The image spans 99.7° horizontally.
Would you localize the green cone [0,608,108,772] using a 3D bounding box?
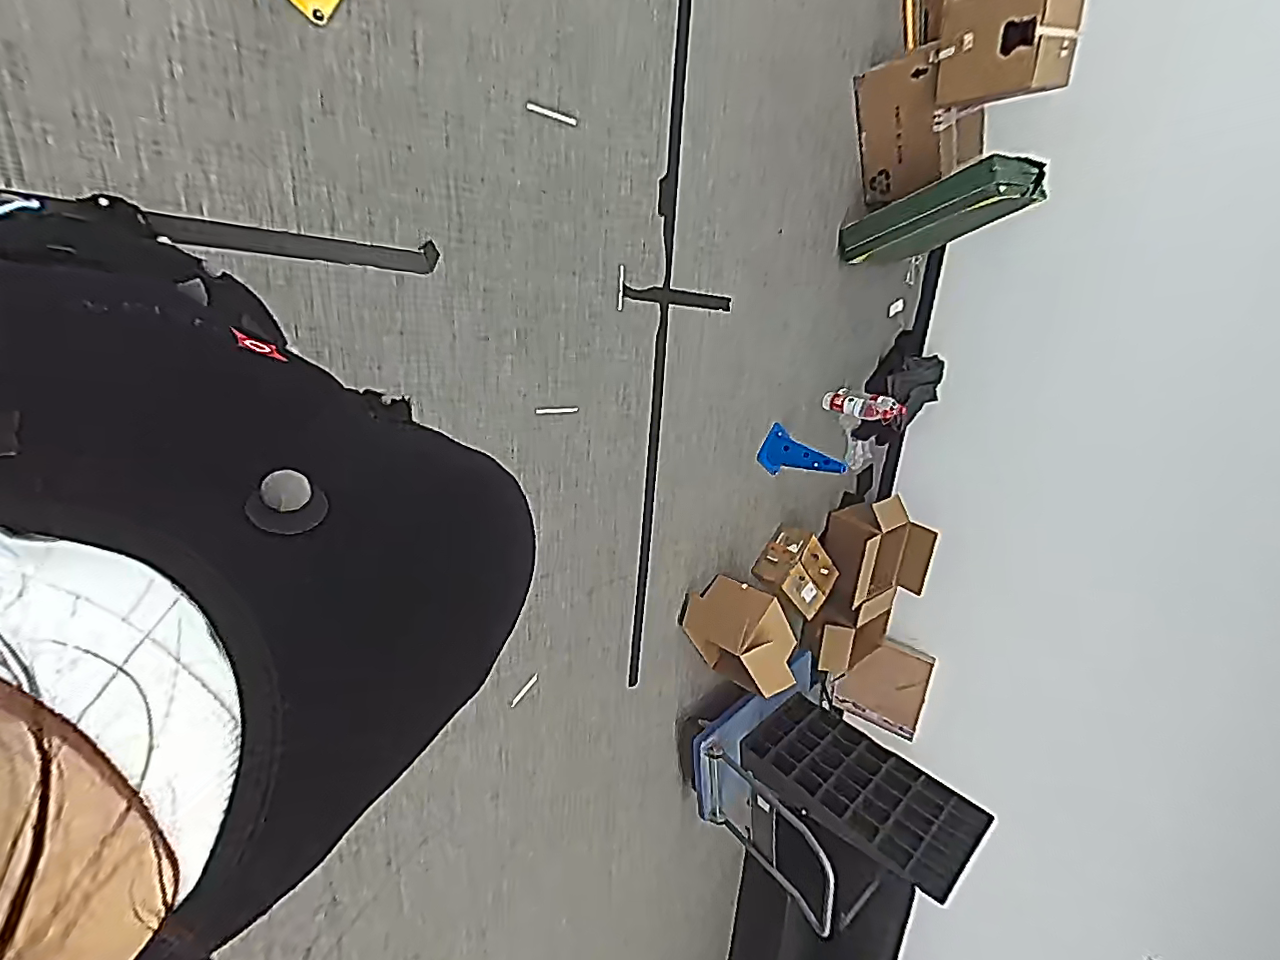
[{"bbox_3d":[-1.105,0.412,0.932,0.202,0.368,0.200,-26,121,-31],"label":"green cone"}]
